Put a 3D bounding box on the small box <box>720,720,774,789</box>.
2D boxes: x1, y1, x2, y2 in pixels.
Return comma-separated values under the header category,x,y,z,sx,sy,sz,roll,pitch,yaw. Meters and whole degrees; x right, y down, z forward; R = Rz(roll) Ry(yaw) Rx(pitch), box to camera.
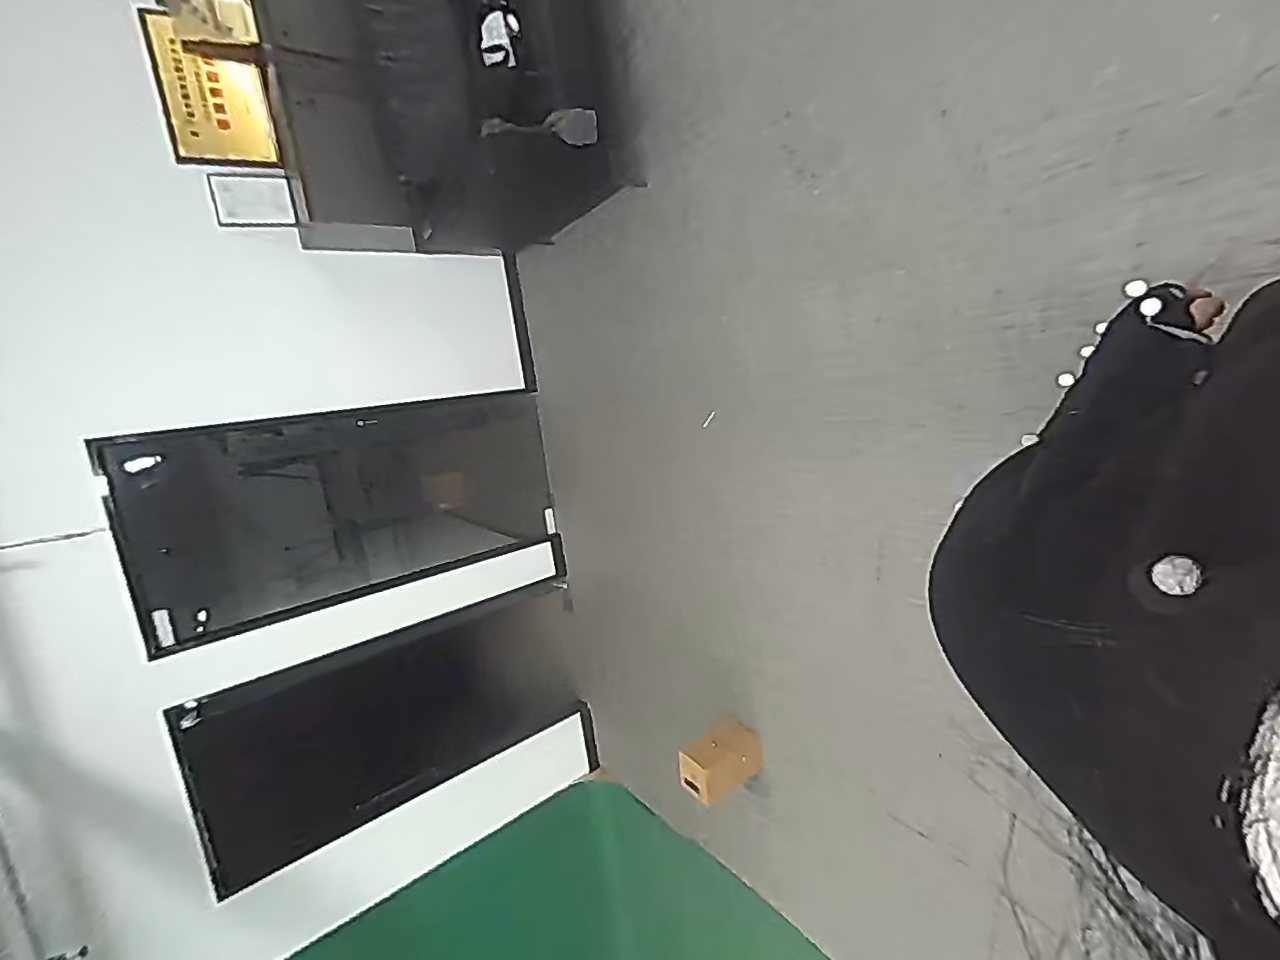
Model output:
category,x,y,z,sx,sy,sz,roll,pitch,yaw
small box,0.466,1.183,2.351,0.168,0.176,0.179,13,113,52
